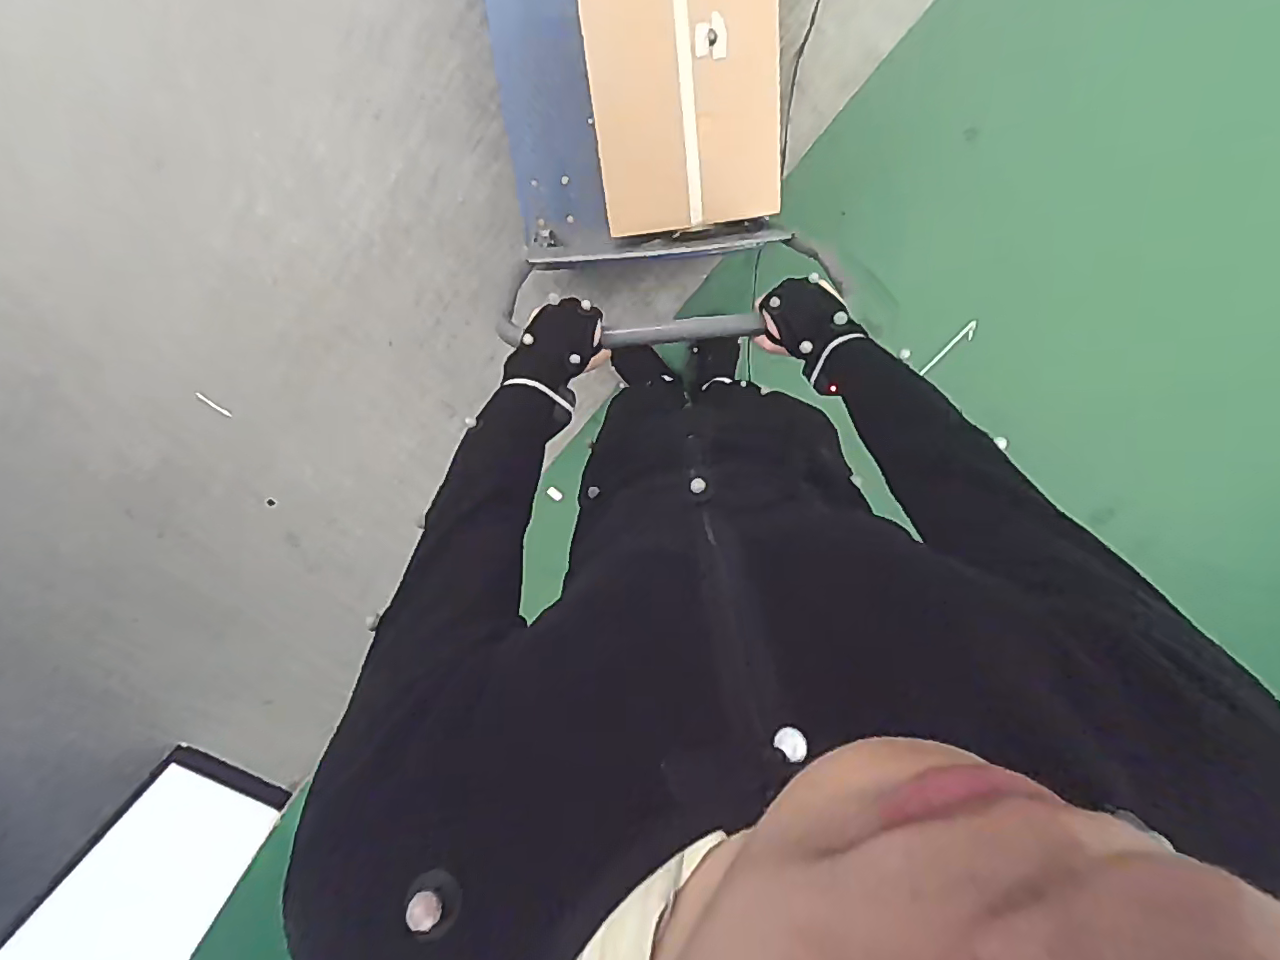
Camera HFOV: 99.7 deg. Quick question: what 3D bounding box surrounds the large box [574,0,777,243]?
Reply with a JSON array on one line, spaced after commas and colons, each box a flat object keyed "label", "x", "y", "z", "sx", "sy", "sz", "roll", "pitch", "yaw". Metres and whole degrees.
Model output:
[{"label": "large box", "x": 0.070, "y": -0.705, "z": 1.053, "sx": 0.320, "sy": 0.320, "sz": 0.408, "roll": -8, "pitch": 116, "yaw": 2}]
